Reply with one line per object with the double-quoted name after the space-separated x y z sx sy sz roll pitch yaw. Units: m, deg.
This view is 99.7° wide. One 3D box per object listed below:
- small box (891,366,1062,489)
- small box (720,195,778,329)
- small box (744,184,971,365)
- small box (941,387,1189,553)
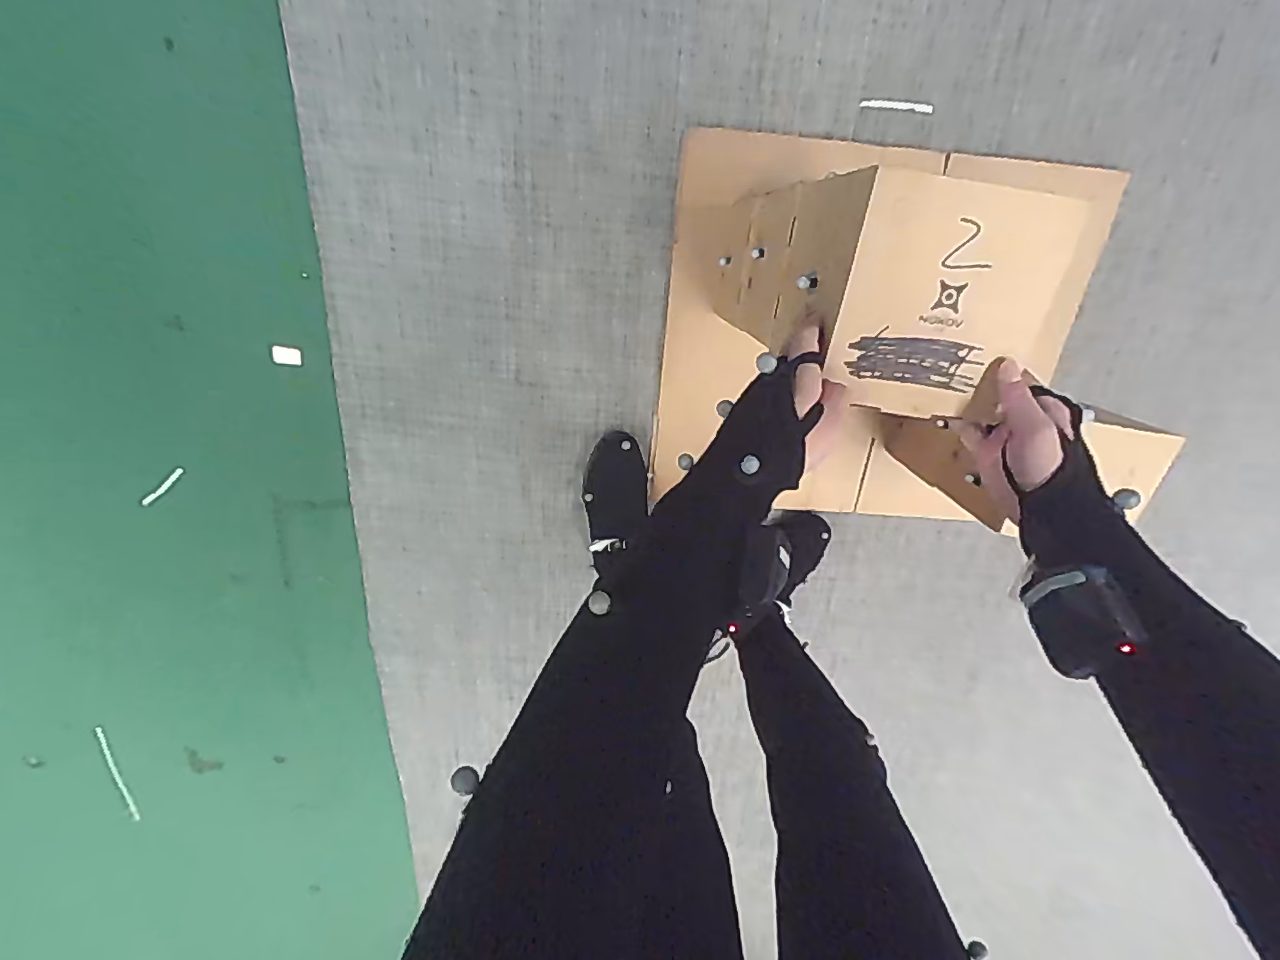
0.557 -0.085 0.897 0.179 0.176 0.168 6 113 -4 "small box"
0.226 -0.308 0.788 0.179 0.176 0.168 5 113 -4 "small box"
0.236 -0.243 0.640 0.179 0.176 0.168 5 114 -3 "small box"
0.560 -0.023 0.746 0.179 0.176 0.168 9 114 -5 "small box"
